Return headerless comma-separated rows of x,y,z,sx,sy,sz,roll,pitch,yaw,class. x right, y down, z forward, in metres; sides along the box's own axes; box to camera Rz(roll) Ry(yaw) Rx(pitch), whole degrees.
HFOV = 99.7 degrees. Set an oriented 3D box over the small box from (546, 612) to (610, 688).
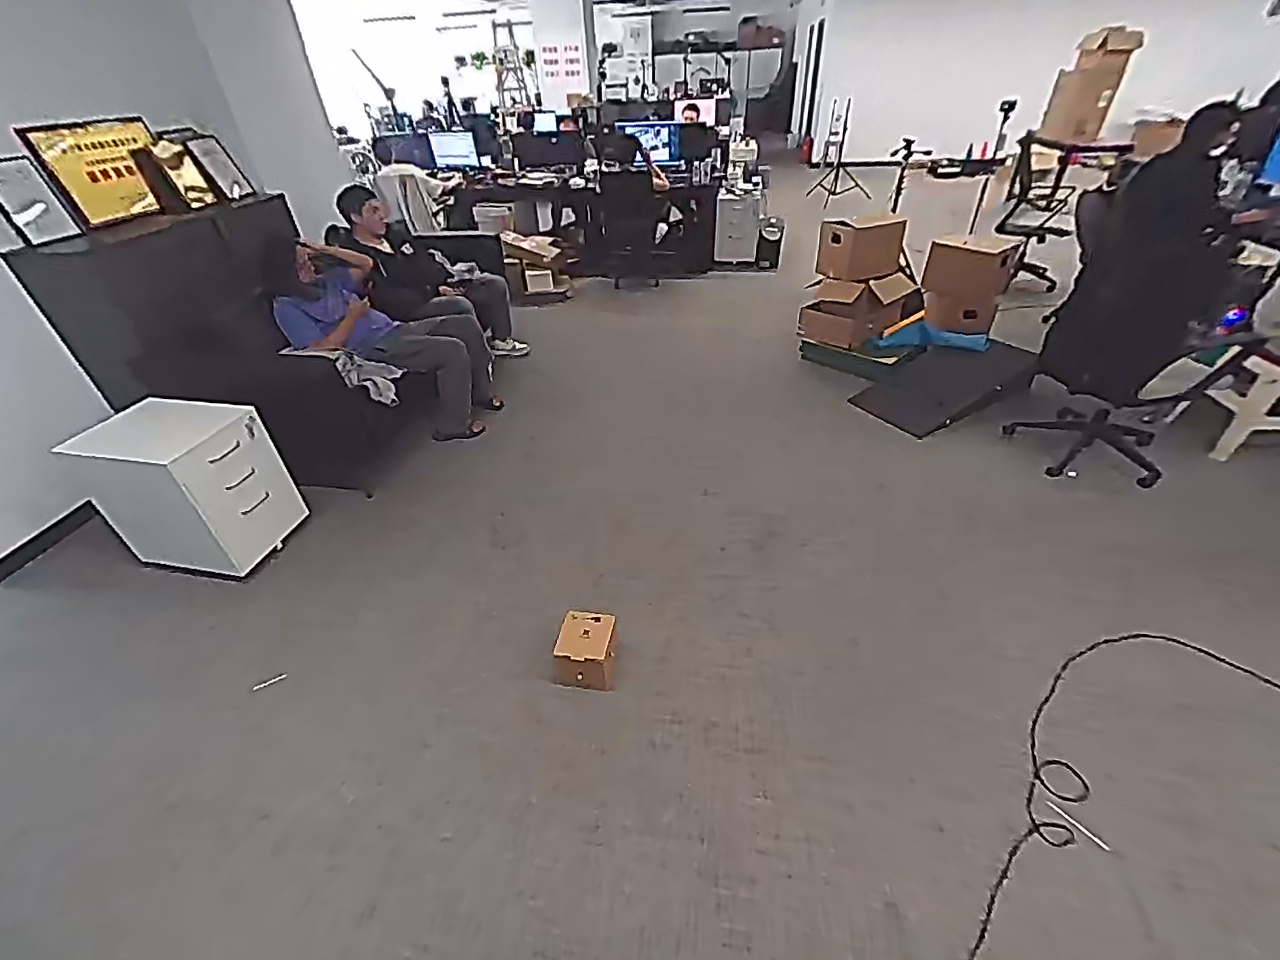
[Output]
-0.198,0.562,1.782,0.168,0.176,0.179,3,37,8,small box
